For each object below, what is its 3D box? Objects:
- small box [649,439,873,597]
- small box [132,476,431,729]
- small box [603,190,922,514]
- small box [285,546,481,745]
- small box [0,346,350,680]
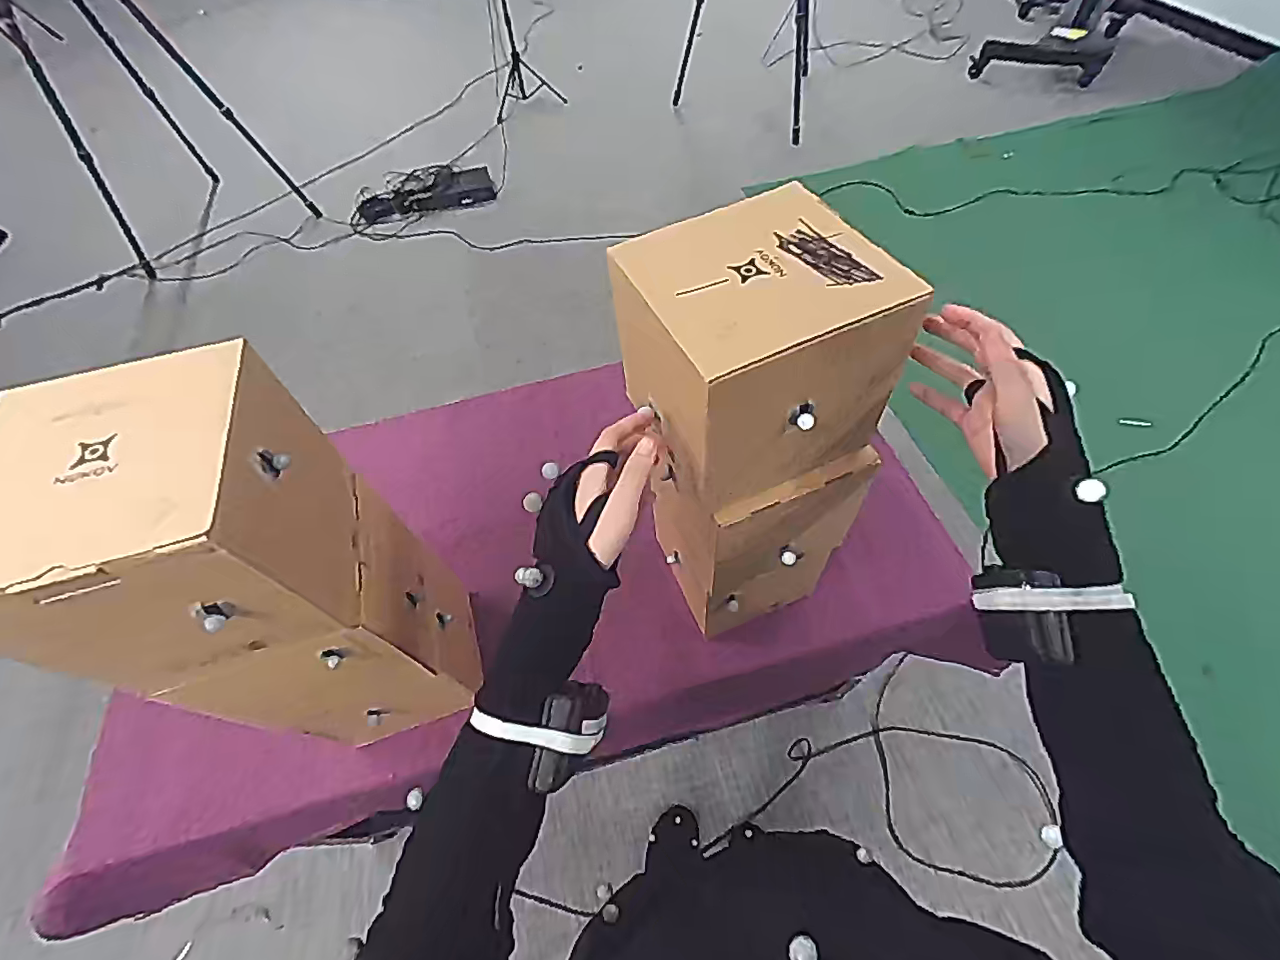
[{"bbox_3d":[0.111,-0.003,0.585,0.168,0.176,0.179,-21,57,-8],"label":"small box"},{"bbox_3d":[-0.331,0.128,0.540,0.179,0.176,0.168,-17,56,-7],"label":"small box"},{"bbox_3d":[0.086,-0.101,0.454,0.179,0.176,0.168,-23,56,-9],"label":"small box"},{"bbox_3d":[-0.320,0.213,0.678,0.179,0.176,0.168,-17,57,-6],"label":"small box"},{"bbox_3d":[-0.342,0.034,0.407,0.168,0.176,0.179,-15,55,-7],"label":"small box"}]
